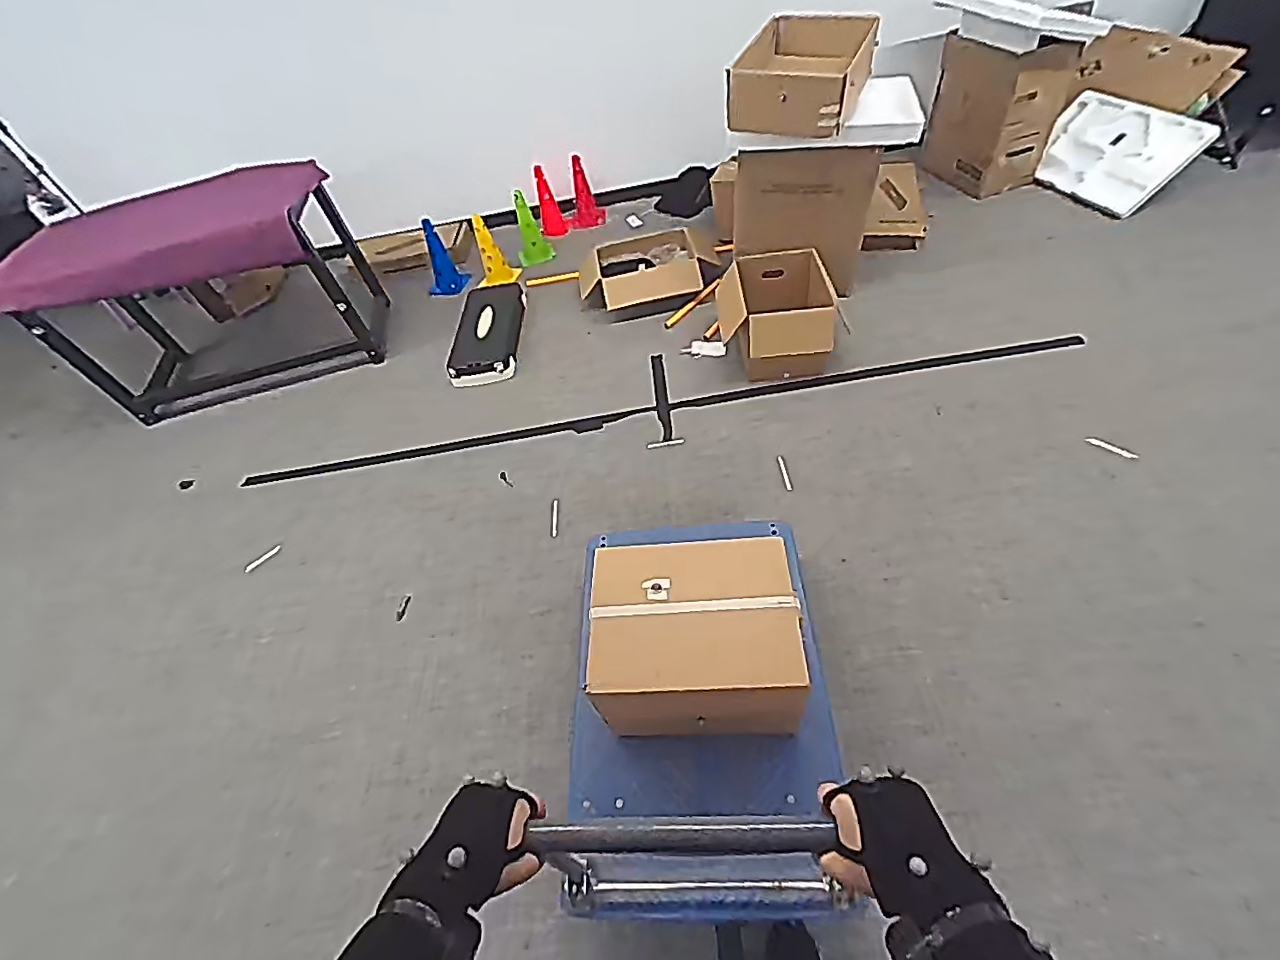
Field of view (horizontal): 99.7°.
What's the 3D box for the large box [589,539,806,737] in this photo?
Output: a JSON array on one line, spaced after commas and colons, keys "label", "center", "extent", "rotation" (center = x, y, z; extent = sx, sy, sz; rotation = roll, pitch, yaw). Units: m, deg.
[{"label": "large box", "center": [0.124, 0.357, 1.192], "extent": [0.408, 0.320, 0.320], "rotation": [-6, 49, 7]}]
